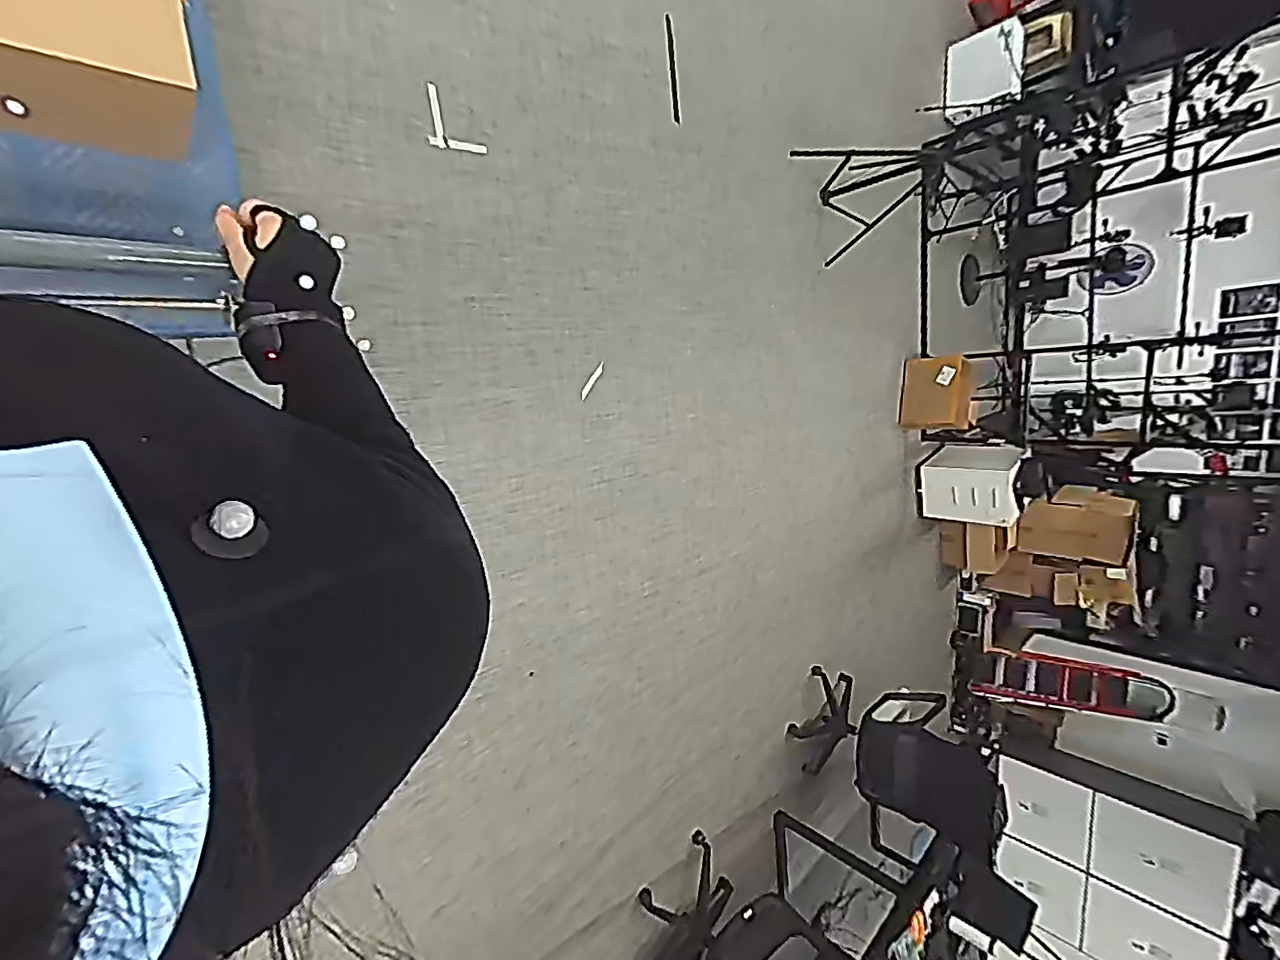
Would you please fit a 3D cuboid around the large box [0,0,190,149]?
[{"bbox_3d":[-0.915,-0.710,0.746,0.408,0.320,0.320,-13,103,-41],"label":"large box"}]
